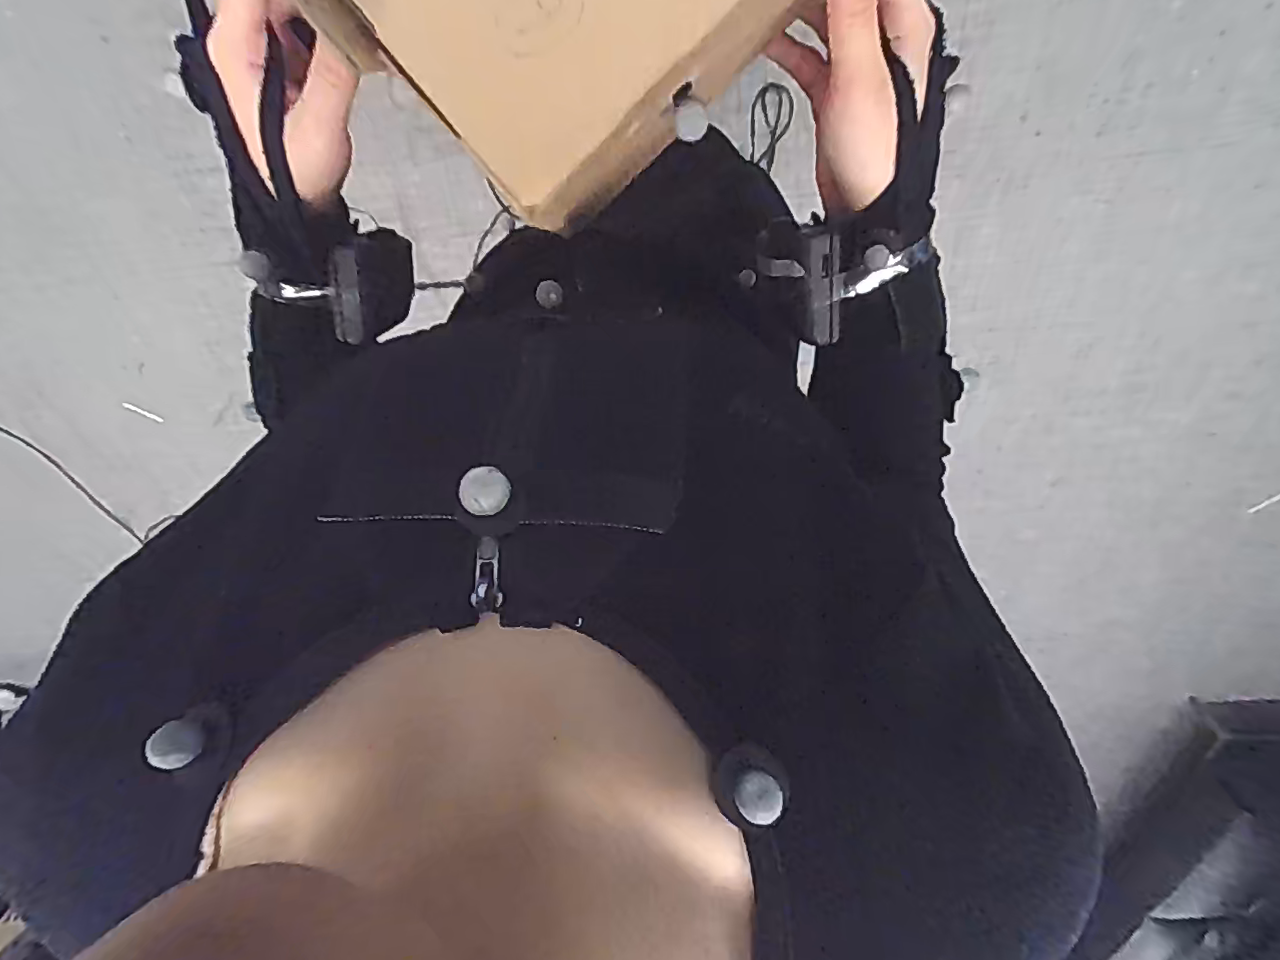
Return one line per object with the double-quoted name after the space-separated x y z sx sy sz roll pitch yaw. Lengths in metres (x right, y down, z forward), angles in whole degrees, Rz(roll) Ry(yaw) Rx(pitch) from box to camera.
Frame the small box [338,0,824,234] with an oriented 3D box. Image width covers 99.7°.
-0.023 -0.223 0.217 0.179 0.176 0.168 -39 108 13 "small box"
